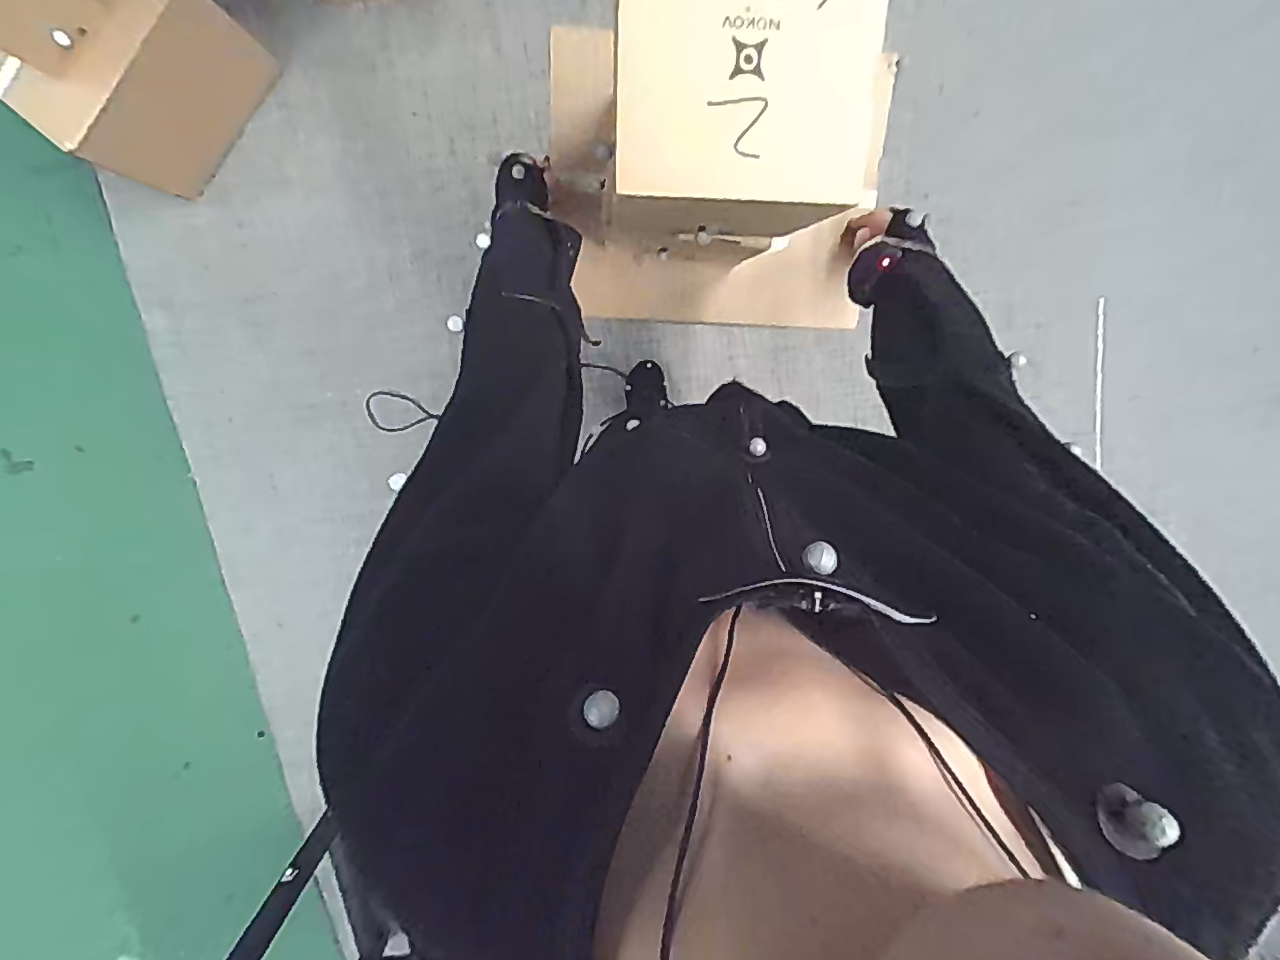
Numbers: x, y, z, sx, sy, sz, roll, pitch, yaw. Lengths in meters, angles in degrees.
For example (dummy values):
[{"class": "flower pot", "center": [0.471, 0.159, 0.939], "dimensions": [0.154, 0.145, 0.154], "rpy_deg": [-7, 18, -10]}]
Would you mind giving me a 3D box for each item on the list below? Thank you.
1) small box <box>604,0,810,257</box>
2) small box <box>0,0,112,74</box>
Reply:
[{"class": "small box", "center": [0.052, -0.343, 0.559], "dimensions": [0.168, 0.176, 0.179], "rpy_deg": [6, 107, -5]}, {"class": "small box", "center": [-1.079, -0.848, 0.910], "dimensions": [0.168, 0.176, 0.179], "rpy_deg": [-44, 99, 7]}]
